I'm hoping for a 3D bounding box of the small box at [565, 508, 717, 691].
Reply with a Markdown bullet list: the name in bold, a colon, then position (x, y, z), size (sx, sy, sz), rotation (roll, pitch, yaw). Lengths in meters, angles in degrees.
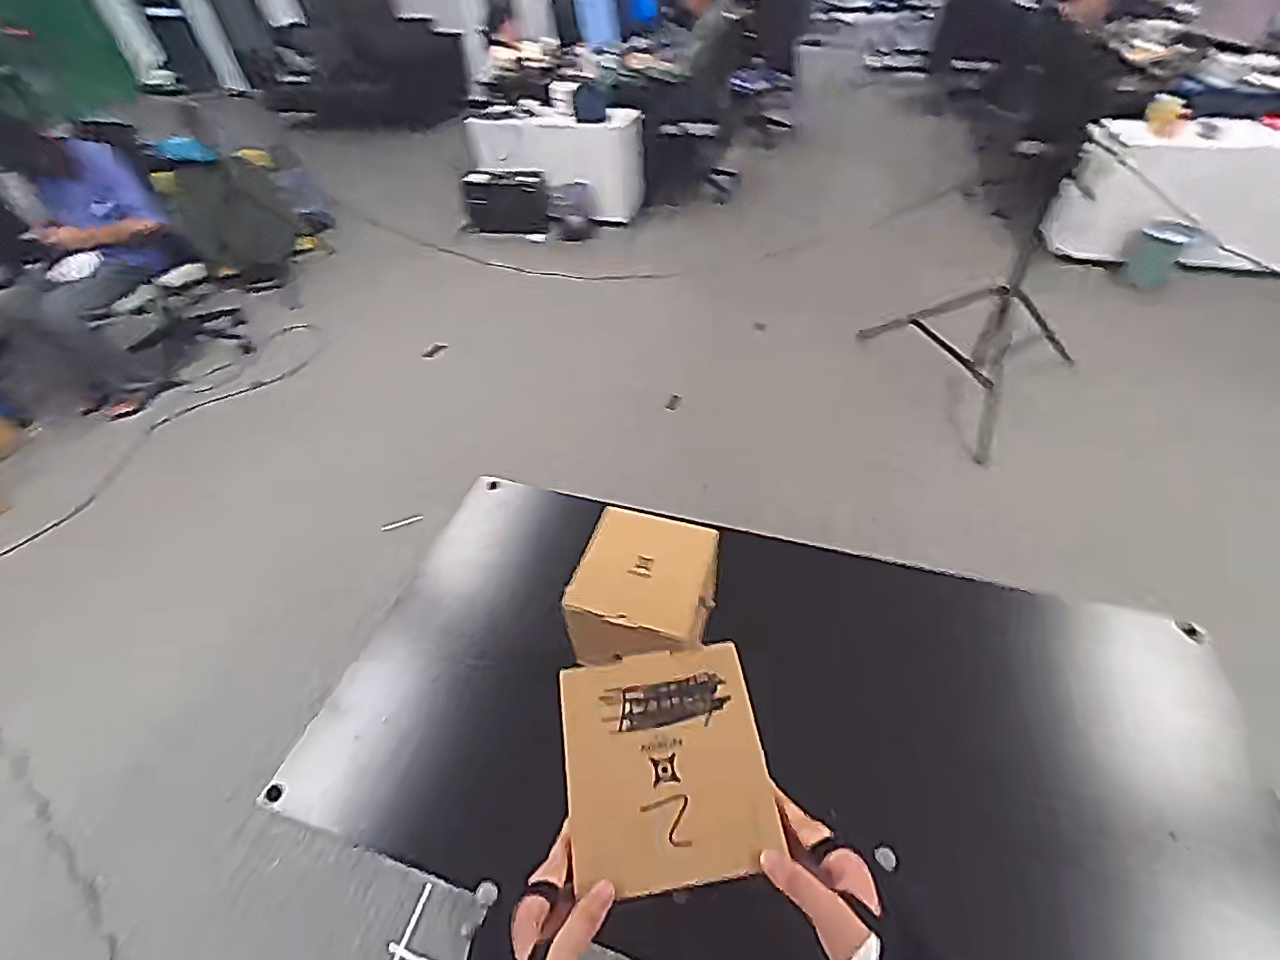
- **small box**: position (0.008, 0.173, 0.787), size (0.168, 0.176, 0.179), rotation (12, 49, 15)
